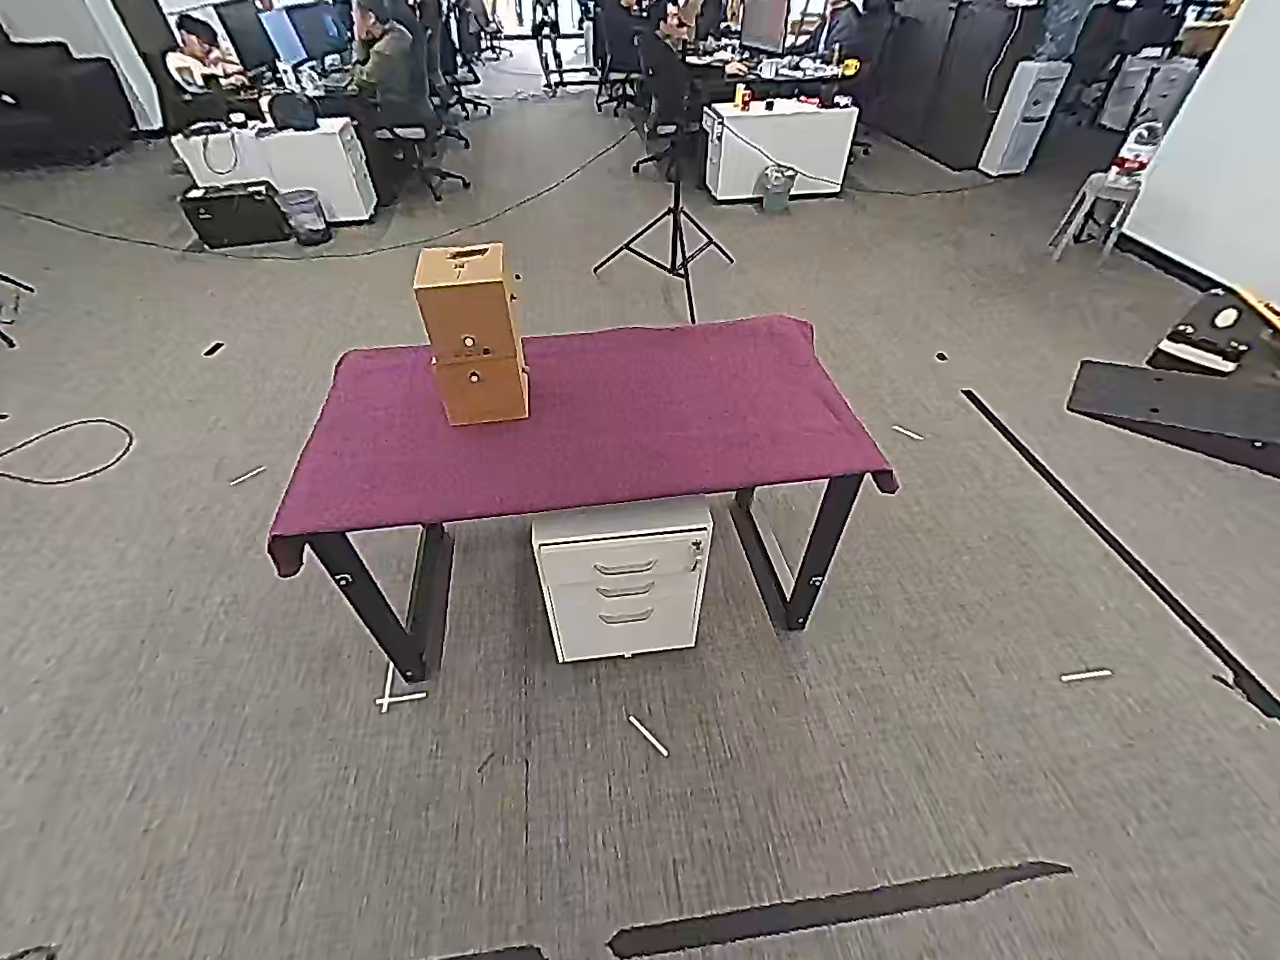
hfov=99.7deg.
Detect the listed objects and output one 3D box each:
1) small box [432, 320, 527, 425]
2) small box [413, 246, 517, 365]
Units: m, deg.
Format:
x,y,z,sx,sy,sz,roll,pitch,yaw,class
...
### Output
x,y,z,sx,sy,sz,roll,pitch,yaw,class
-0.353,-0.243,1.226,0.179,0.176,0.168,-7,46,-6,small box
-0.349,-0.358,1.109,0.168,0.176,0.179,-8,47,-6,small box
